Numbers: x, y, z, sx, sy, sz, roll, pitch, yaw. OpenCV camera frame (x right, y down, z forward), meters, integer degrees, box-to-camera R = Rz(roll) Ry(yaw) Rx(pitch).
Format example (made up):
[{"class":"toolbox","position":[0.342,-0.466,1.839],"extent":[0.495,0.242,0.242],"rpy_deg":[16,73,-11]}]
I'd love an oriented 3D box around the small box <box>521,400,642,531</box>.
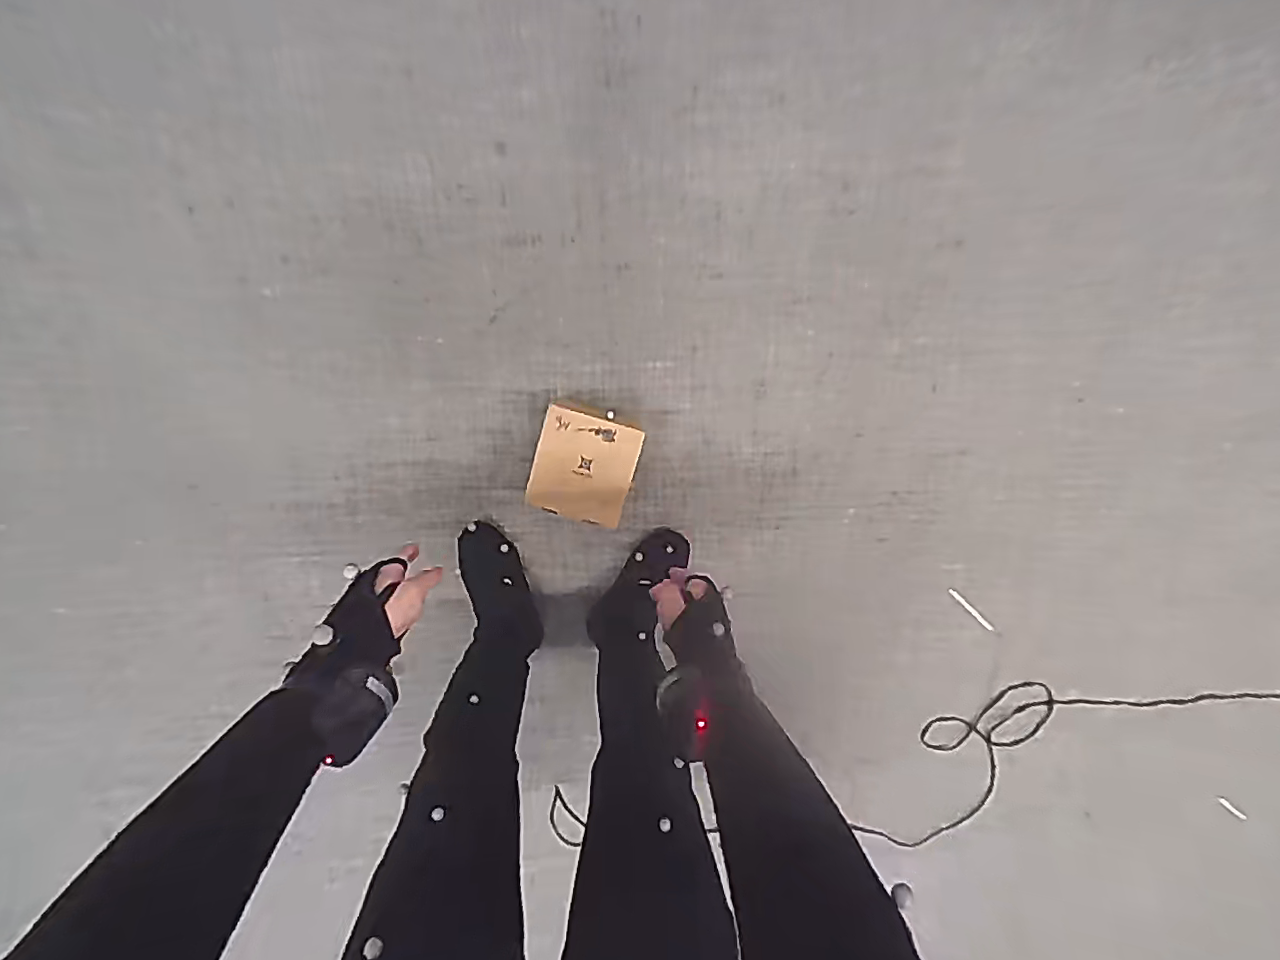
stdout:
[{"class":"small box","position":[-0.097,-0.033,0.958],"extent":[0.168,0.176,0.179],"rpy_deg":[15,102,-5]}]
